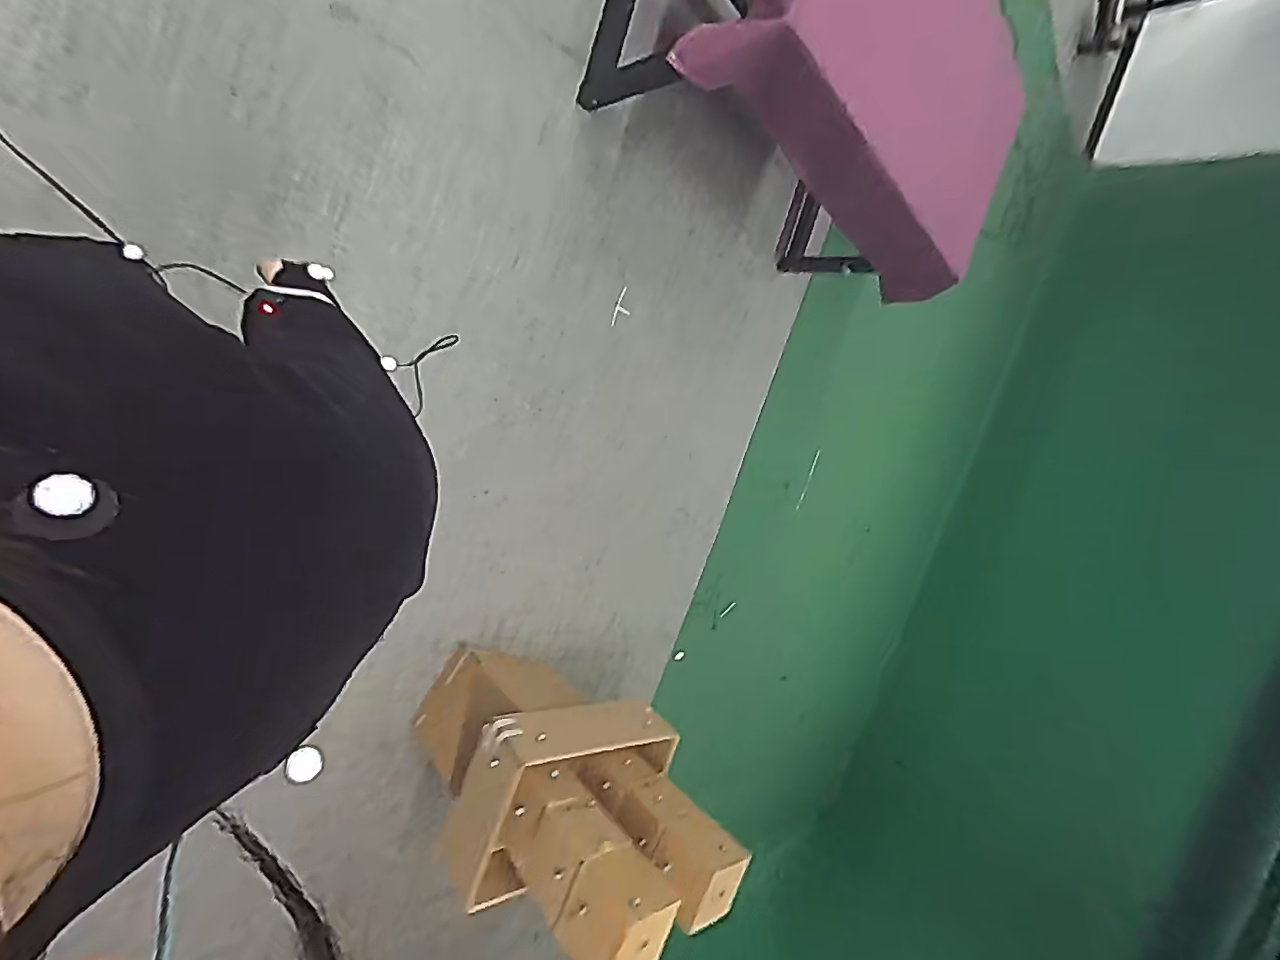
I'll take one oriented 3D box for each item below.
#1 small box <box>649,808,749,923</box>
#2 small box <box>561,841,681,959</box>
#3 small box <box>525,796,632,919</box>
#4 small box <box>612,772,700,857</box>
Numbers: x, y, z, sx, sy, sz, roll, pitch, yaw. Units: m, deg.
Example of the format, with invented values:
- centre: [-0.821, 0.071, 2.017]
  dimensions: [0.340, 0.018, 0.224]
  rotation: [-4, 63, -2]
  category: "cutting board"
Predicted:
- centre: [0.149, 1.000, 1.425]
  dimensions: [0.179, 0.176, 0.168]
  rotation: [23, 89, -46]
  category: "small box"
- centre: [-0.046, 0.961, 1.225]
  dimensions: [0.179, 0.176, 0.168]
  rotation: [21, 92, -45]
  category: "small box"
- centre: [-0.157, 0.913, 1.334]
  dimensions: [0.168, 0.176, 0.179]
  rotation: [22, 91, -46]
  category: "small box"
- centre: [0.037, 0.961, 1.540]
  dimensions: [0.168, 0.176, 0.179]
  rotation: [19, 93, -45]
  category: "small box"
